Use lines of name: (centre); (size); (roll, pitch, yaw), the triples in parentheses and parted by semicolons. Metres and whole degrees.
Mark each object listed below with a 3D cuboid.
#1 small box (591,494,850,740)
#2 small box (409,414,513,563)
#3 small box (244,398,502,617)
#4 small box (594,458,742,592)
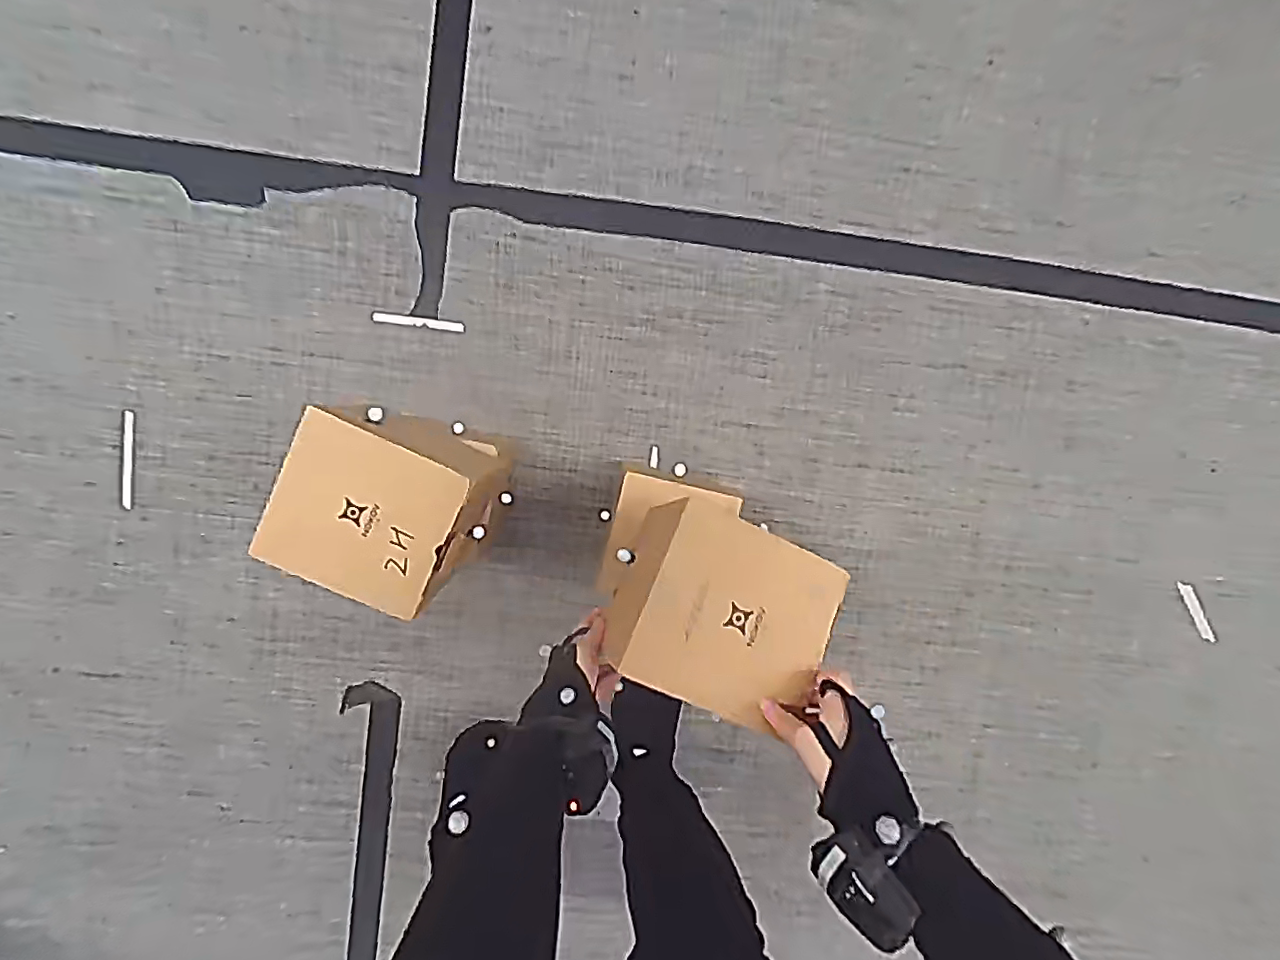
small box: (0.069, 0.127, 0.549); (0.179, 0.176, 0.168); (26, 78, -9)
small box: (-0.289, 0.002, 0.771); (0.179, 0.176, 0.168); (13, 97, -6)
small box: (-0.279, 0.021, 0.607); (0.179, 0.176, 0.168); (26, 96, -6)
small box: (0.033, 0.074, 0.803); (0.168, 0.176, 0.179); (14, 96, -6)
